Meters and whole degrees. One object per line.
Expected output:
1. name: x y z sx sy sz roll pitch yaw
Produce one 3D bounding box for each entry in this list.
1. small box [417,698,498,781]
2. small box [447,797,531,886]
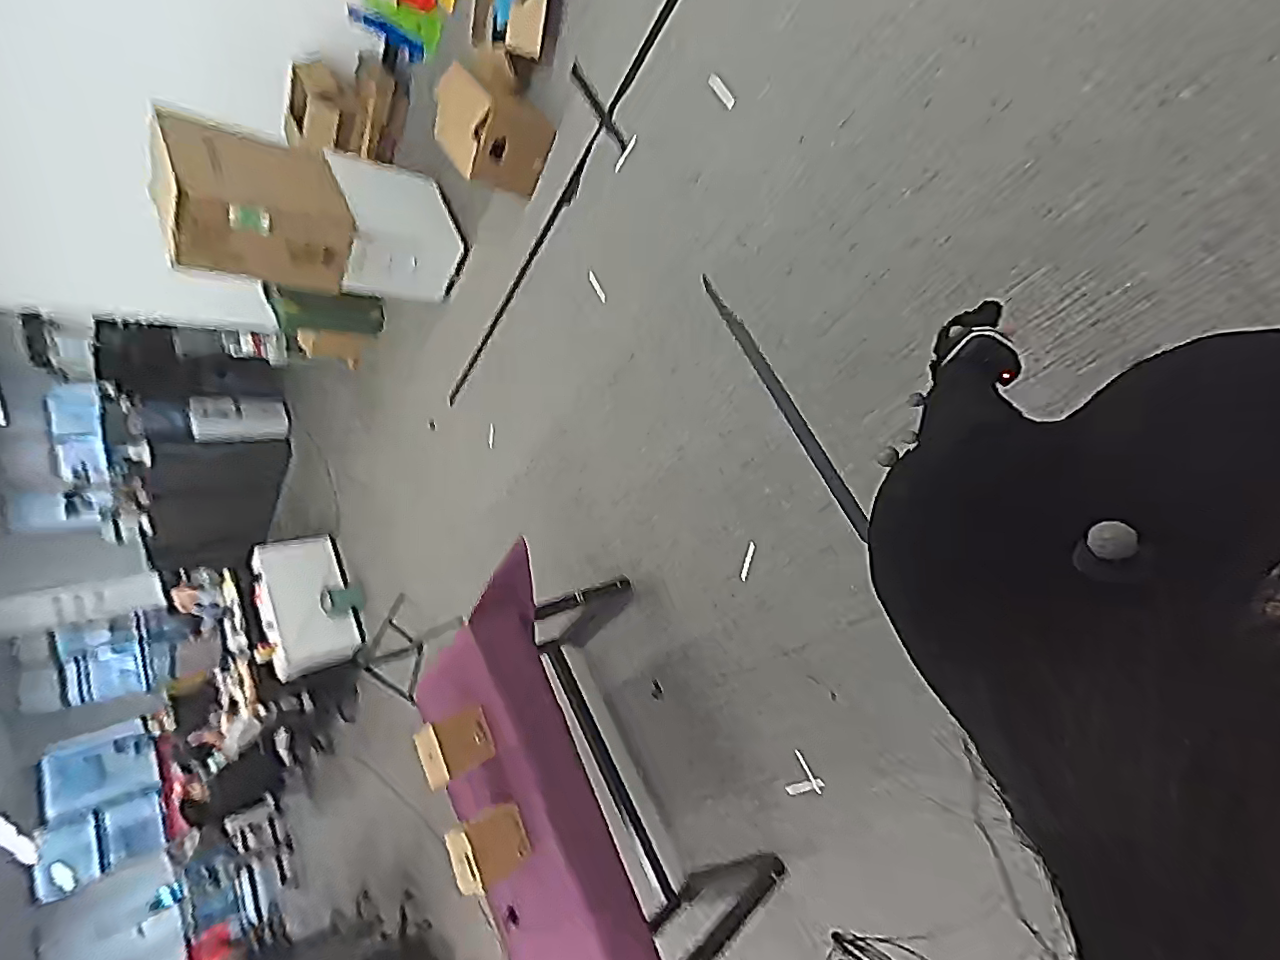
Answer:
1. small box: -0.576 0.819 1.713 0.179 0.176 0.168 -44 67 38
2. small box: -0.446 1.075 1.618 0.179 0.176 0.168 -39 69 42
